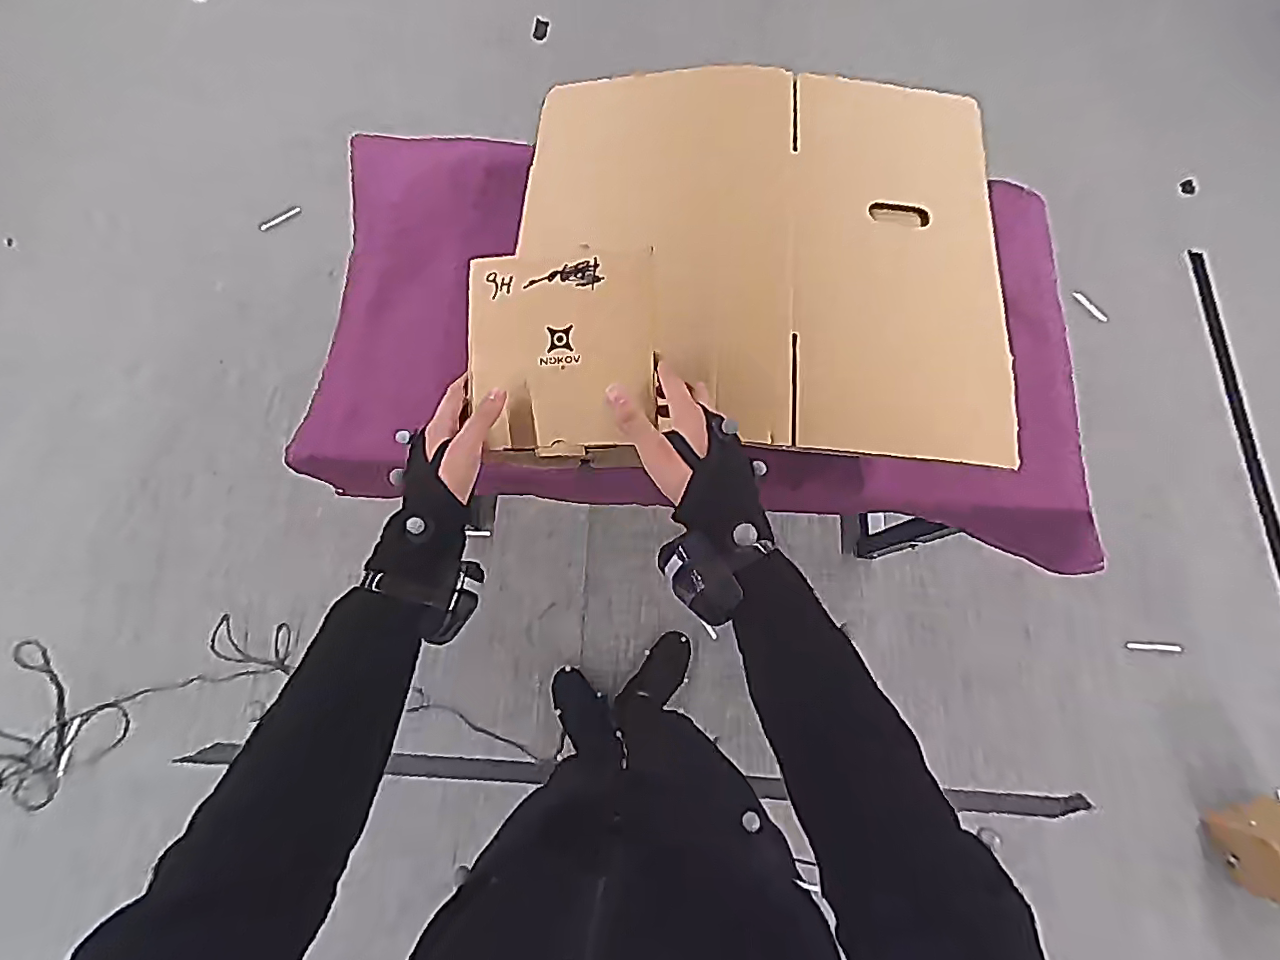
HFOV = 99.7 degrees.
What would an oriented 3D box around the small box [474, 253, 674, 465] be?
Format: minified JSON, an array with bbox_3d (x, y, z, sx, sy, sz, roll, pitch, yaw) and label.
[{"bbox_3d":[-0.054,-0.105,0.551,0.168,0.176,0.179,-1,87,8],"label":"small box"}]
